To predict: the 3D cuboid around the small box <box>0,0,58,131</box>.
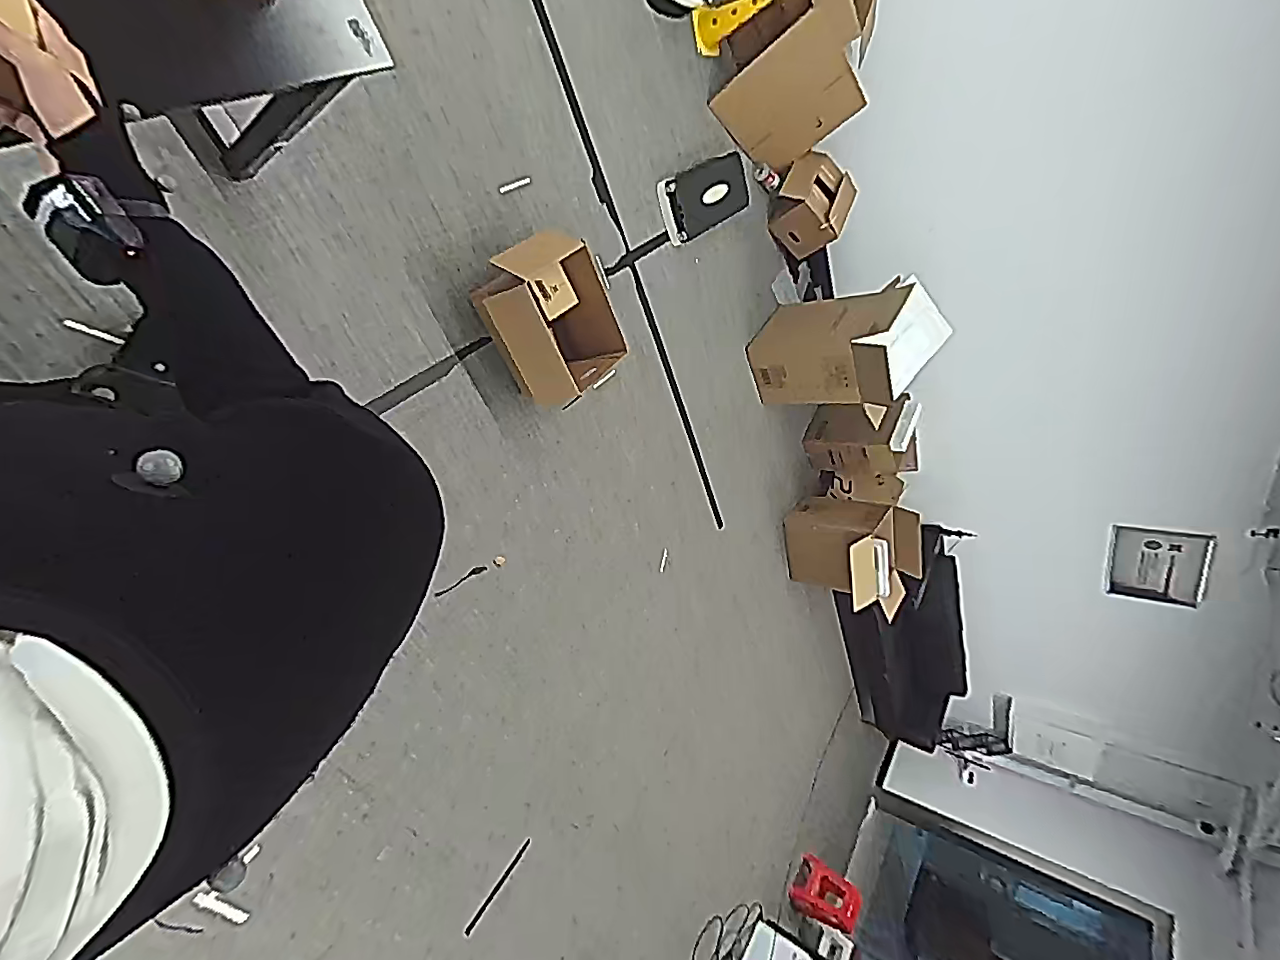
[{"bbox_3d":[-0.573,-0.368,0.371,0.168,0.176,0.179,-25,104,-64],"label":"small box"}]
